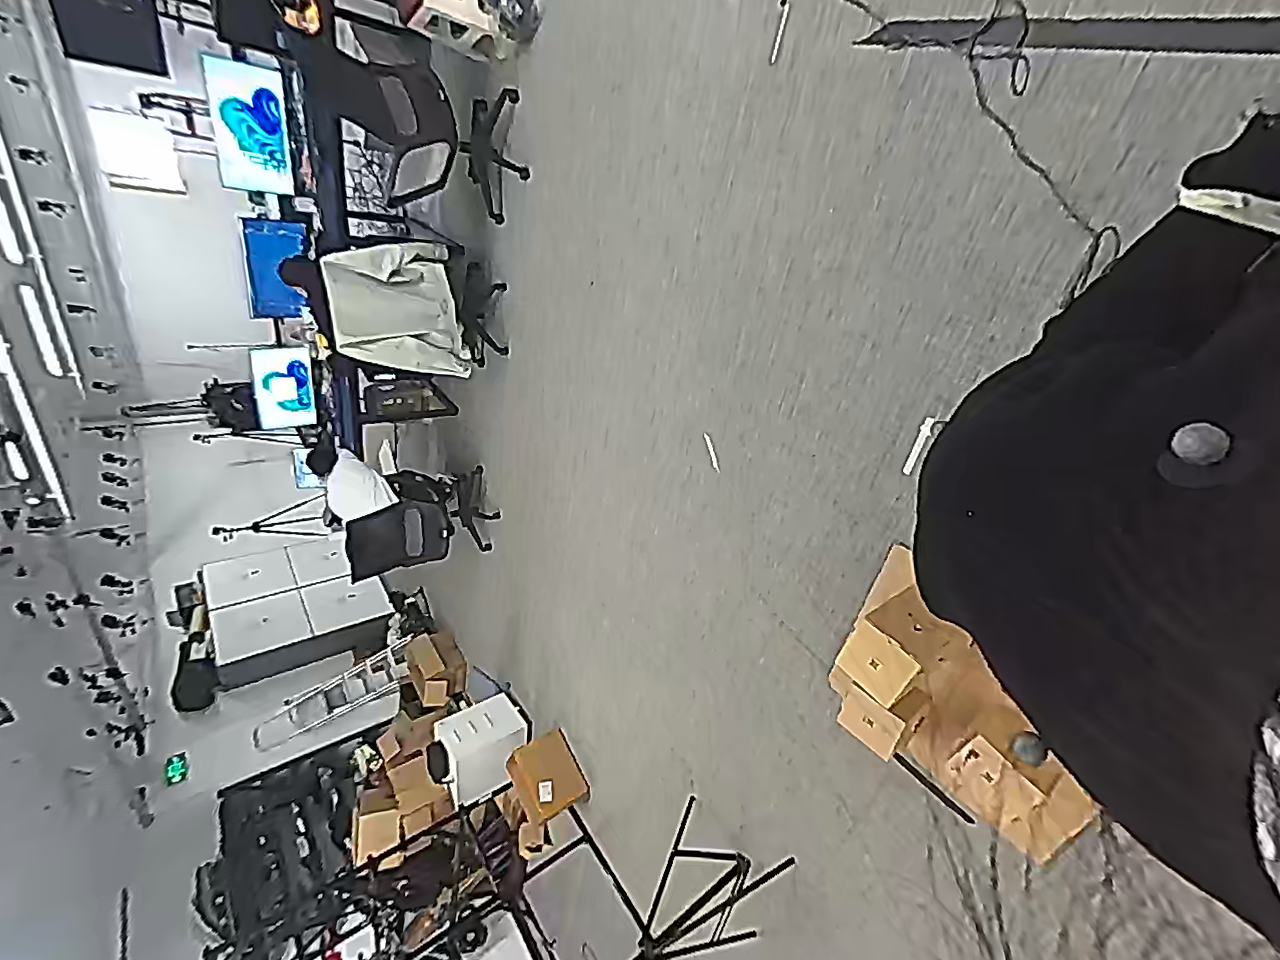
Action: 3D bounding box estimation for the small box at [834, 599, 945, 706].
[{"bbox_3d":[0.645,0.438,1.394,0.168,0.176,0.179,42,129,37],"label":"small box"}]

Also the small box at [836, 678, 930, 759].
[{"bbox_3d":[0.730,0.686,1.628,0.179,0.176,0.168,34,126,42],"label":"small box"}]

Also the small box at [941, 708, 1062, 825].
[{"bbox_3d":[0.927,0.725,1.383,0.179,0.176,0.168,46,132,32],"label":"small box"}]

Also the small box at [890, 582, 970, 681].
[{"bbox_3d":[0.772,0.412,1.493,0.168,0.176,0.179,39,127,38],"label":"small box"}]
